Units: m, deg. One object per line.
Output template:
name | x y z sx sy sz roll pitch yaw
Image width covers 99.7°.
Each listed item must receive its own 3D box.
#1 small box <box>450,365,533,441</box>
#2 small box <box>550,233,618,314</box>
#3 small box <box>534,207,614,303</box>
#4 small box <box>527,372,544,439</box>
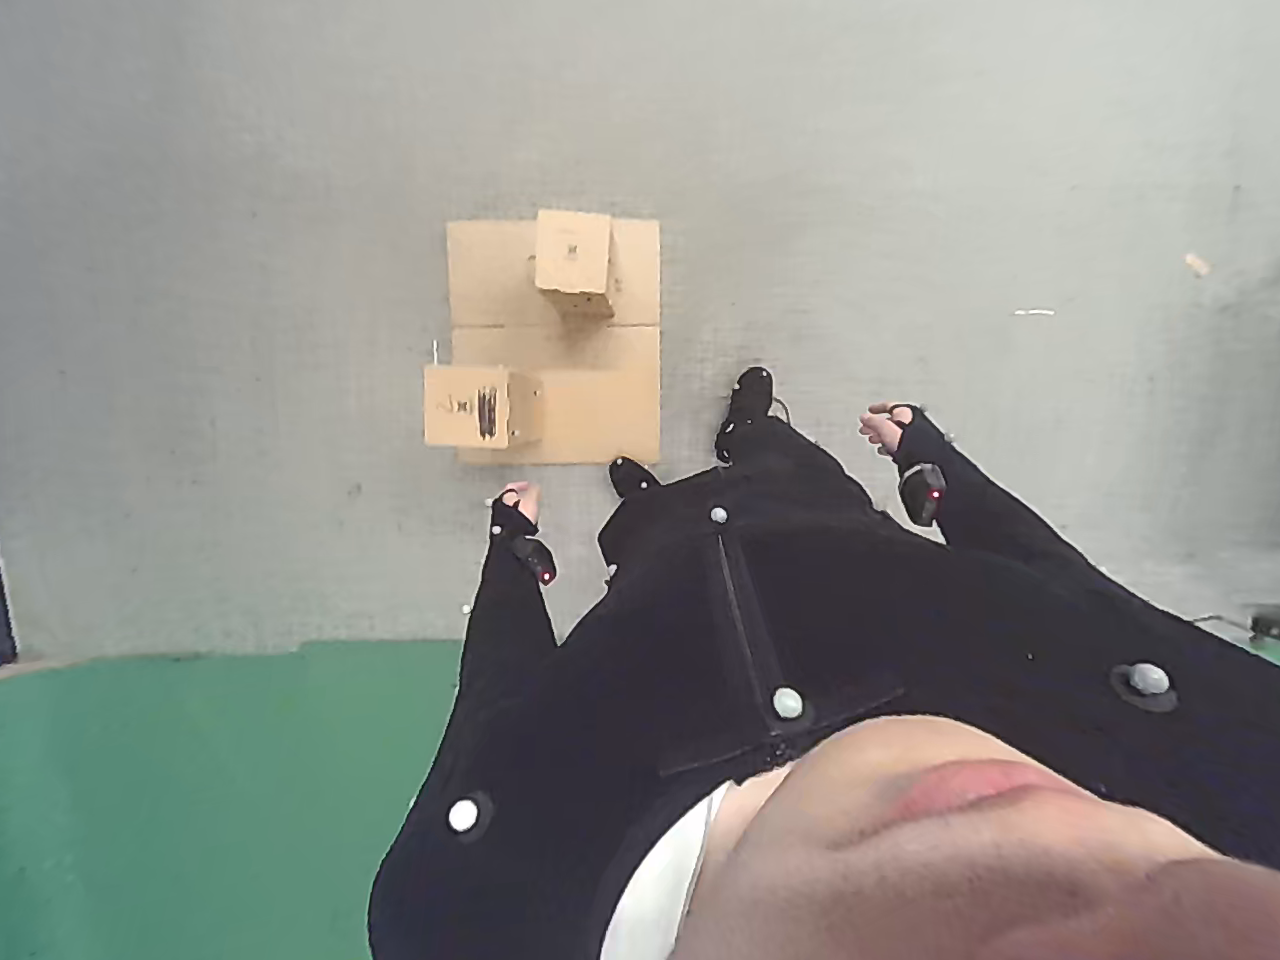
small box | -0.366 -0.192 1.354 0.168 0.176 0.179 1 99 0
small box | -0.149 -0.559 1.465 0.168 0.176 0.179 2 98 0
small box | -0.153 -0.534 1.304 0.168 0.176 0.179 5 98 -1
small box | -0.366 -0.209 1.515 0.168 0.176 0.179 1 98 1
